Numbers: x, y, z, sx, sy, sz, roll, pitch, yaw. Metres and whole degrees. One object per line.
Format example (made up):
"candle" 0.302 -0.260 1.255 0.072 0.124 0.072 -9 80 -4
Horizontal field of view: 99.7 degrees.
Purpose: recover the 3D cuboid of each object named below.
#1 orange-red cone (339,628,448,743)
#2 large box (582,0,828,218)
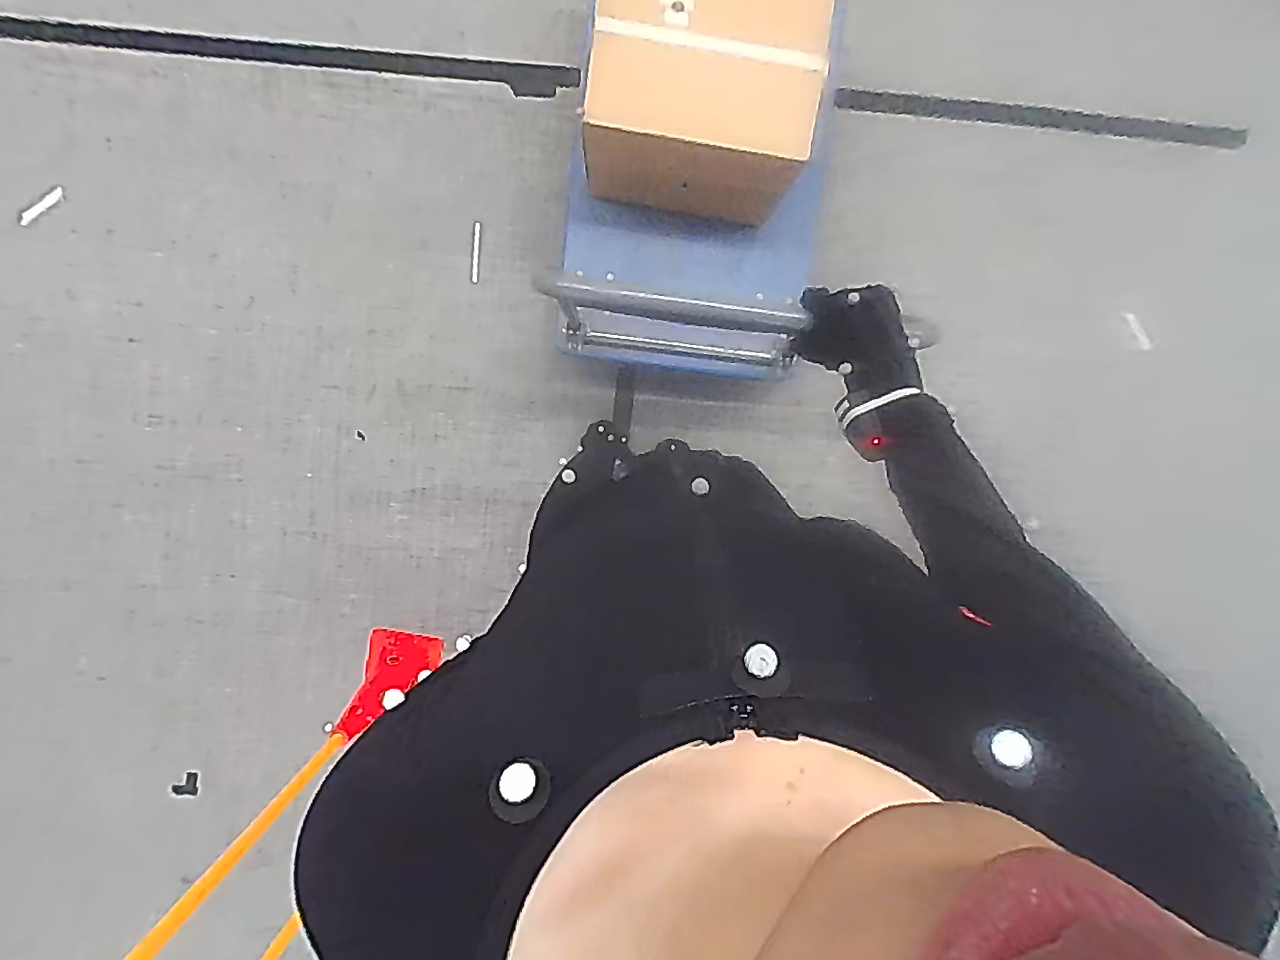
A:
"orange-red cone" -0.636 0.530 1.330 0.198 0.360 0.199 12 94 -4
"large box" 0.111 -0.757 1.082 0.408 0.320 0.320 8 95 -2
